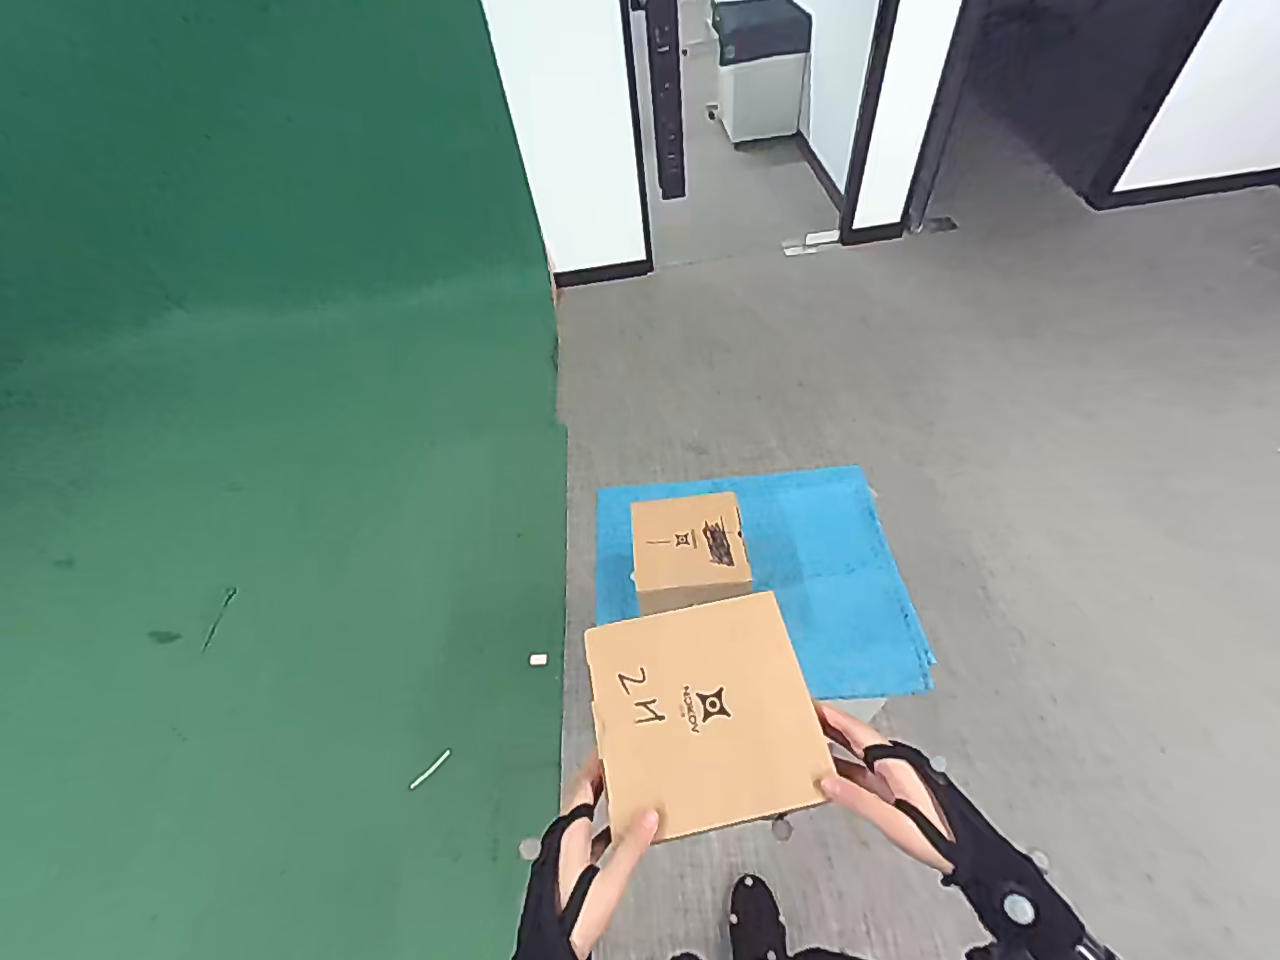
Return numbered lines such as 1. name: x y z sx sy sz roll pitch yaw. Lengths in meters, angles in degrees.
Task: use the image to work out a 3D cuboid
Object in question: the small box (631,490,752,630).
1. small box: 0.082 0.137 0.900 0.179 0.176 0.168 -6 52 4
